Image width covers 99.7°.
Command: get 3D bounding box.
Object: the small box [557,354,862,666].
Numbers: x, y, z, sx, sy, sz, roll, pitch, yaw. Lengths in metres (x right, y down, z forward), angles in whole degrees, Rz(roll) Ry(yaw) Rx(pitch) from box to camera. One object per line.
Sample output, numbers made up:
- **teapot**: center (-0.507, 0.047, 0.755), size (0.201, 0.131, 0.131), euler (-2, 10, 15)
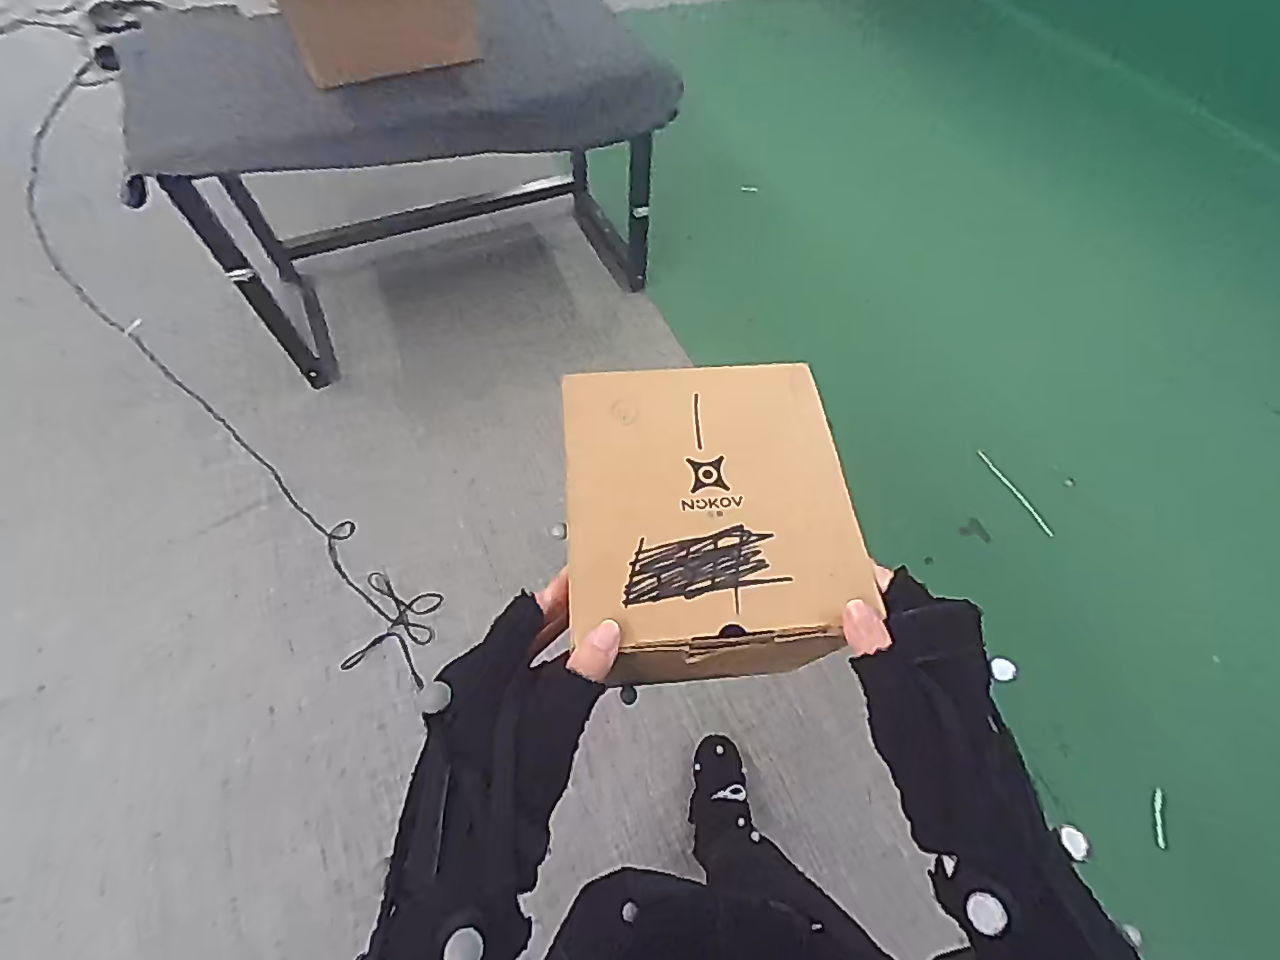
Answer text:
- **small box**: center (0.031, 0.033, 0.396), size (0.168, 0.176, 0.179), euler (-4, 61, -5)
